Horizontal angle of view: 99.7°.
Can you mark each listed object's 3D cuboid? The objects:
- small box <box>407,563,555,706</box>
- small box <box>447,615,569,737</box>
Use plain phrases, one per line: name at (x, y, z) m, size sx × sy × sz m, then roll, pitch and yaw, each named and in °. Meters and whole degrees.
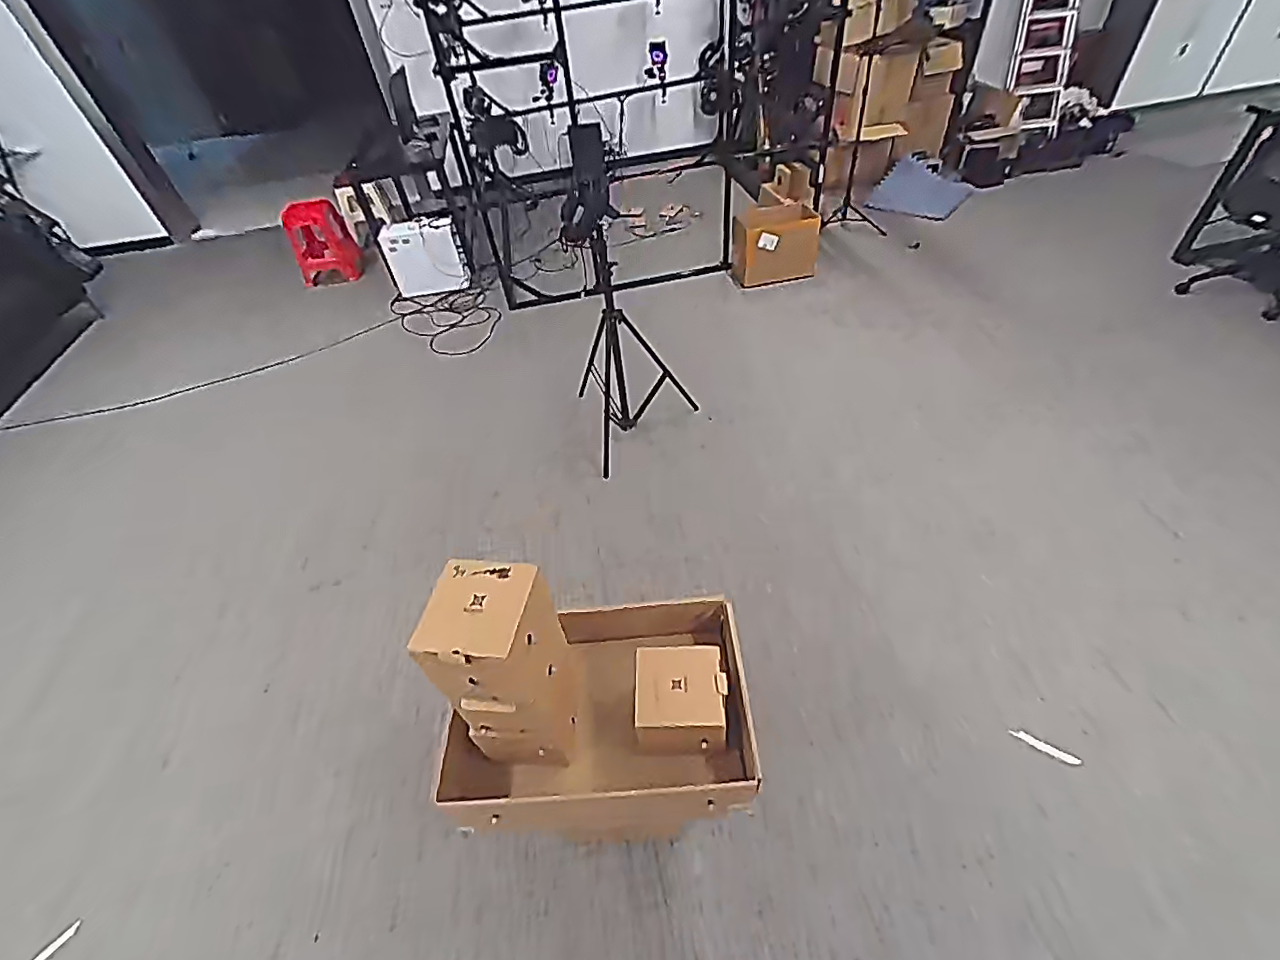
small box at (-0.255, 0.265, 0.922) m, size 0.168 × 0.176 × 0.179 m, roll 3°, pitch 46°, yaw 10°
small box at (-0.241, 0.377, 1.042) m, size 0.168 × 0.176 × 0.179 m, roll 0°, pitch 44°, yaw 8°
